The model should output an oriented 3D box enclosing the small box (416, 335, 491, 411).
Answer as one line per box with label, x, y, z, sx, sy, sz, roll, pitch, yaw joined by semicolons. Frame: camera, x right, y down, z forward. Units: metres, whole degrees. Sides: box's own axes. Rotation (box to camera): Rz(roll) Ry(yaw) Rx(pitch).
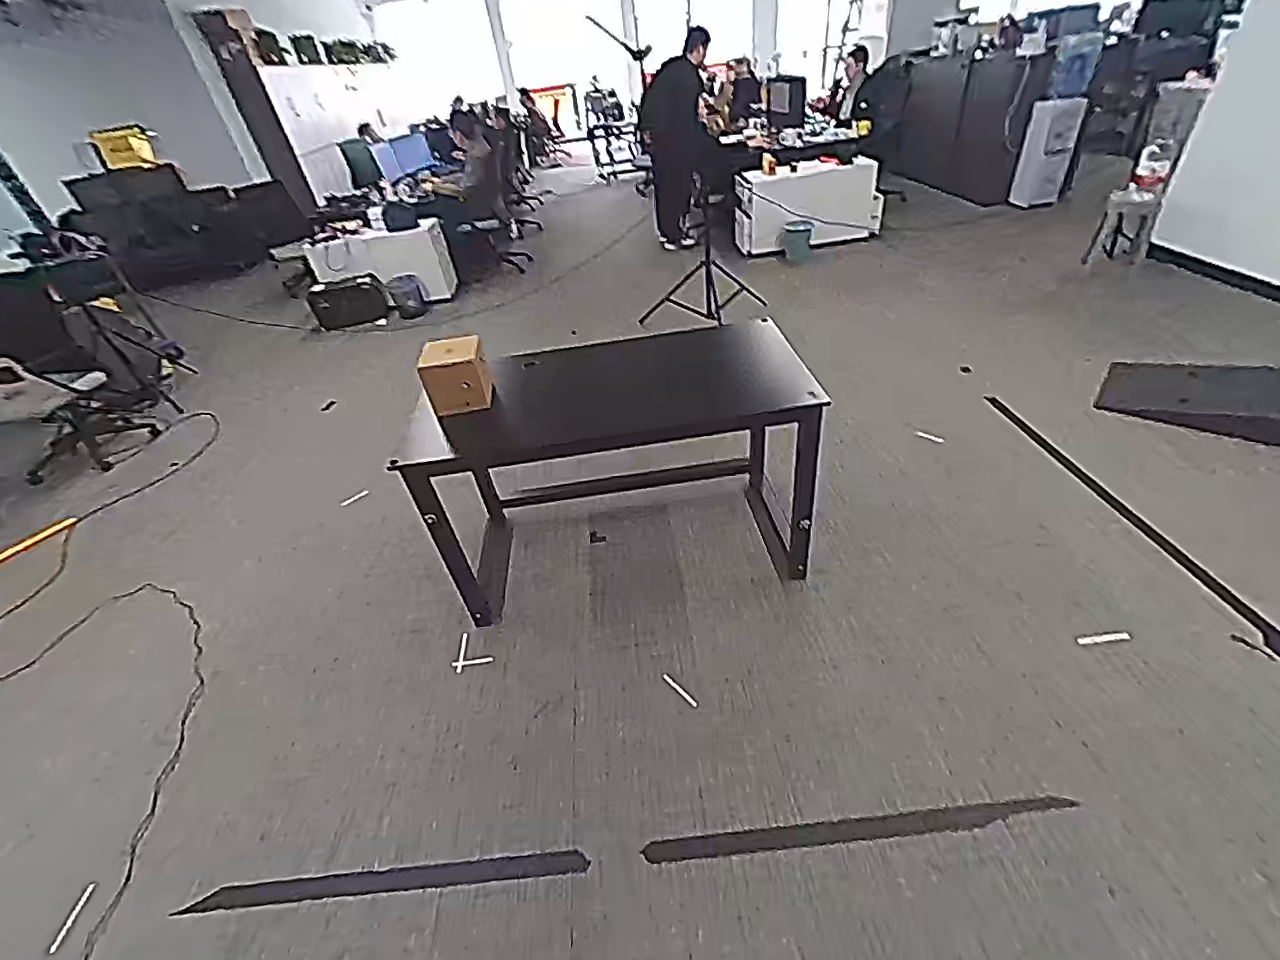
small box;-0.561;-0.320;1.648;0.168;0.176;0.179;-10;37;-4
